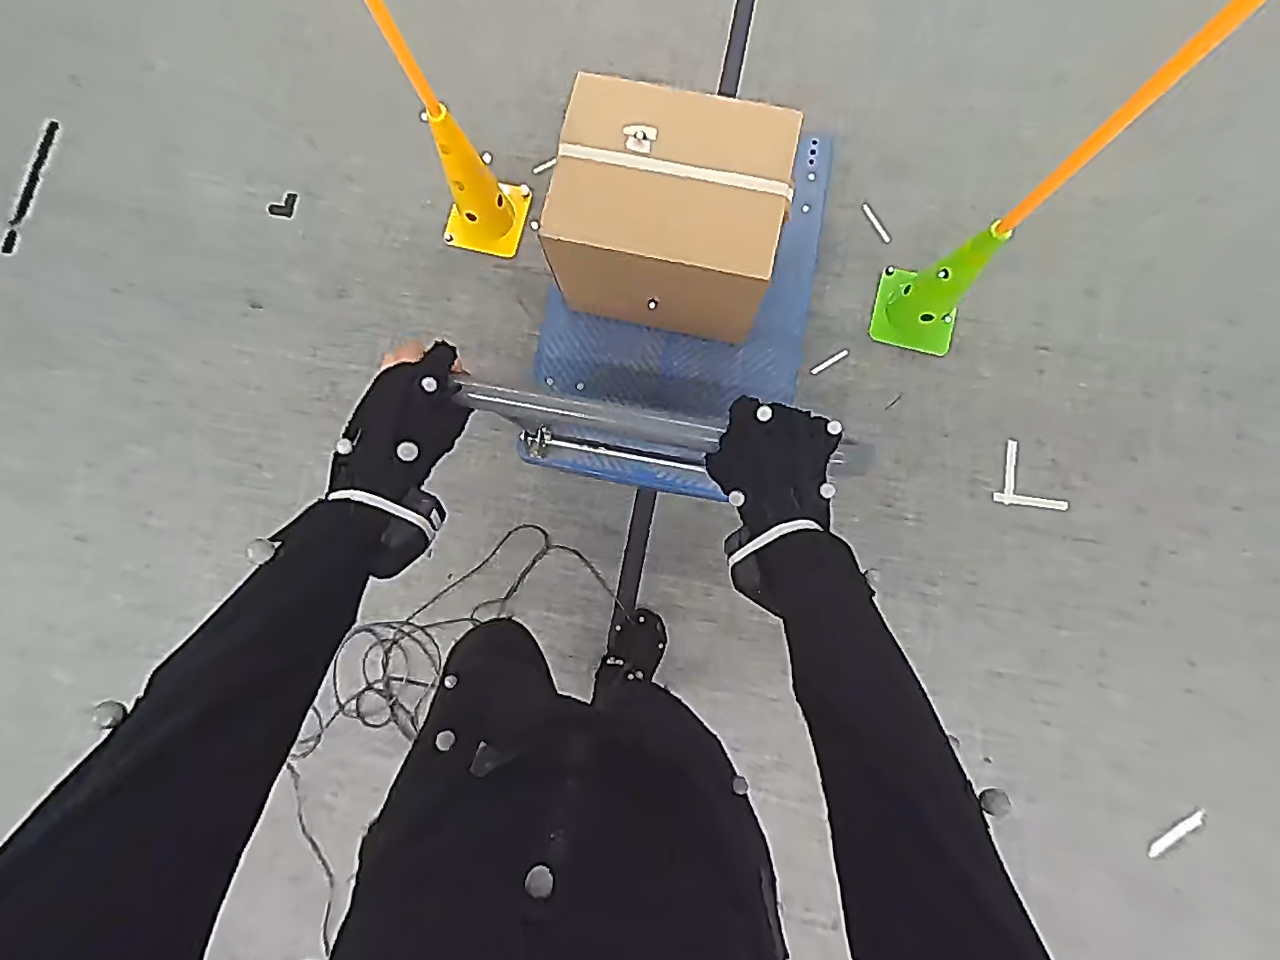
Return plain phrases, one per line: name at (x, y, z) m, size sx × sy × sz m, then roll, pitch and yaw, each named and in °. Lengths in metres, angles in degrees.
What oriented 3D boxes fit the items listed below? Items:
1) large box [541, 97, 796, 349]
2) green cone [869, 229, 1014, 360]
large box at (0.060, -0.490, 1.094) m, size 0.408 × 0.320 × 0.320 m, roll 13°, pitch 84°, yaw 4°
green cone at (0.691, -0.437, 1.206) m, size 0.202 × 0.368 × 0.200 m, roll 15°, pitch 84°, yaw 3°
